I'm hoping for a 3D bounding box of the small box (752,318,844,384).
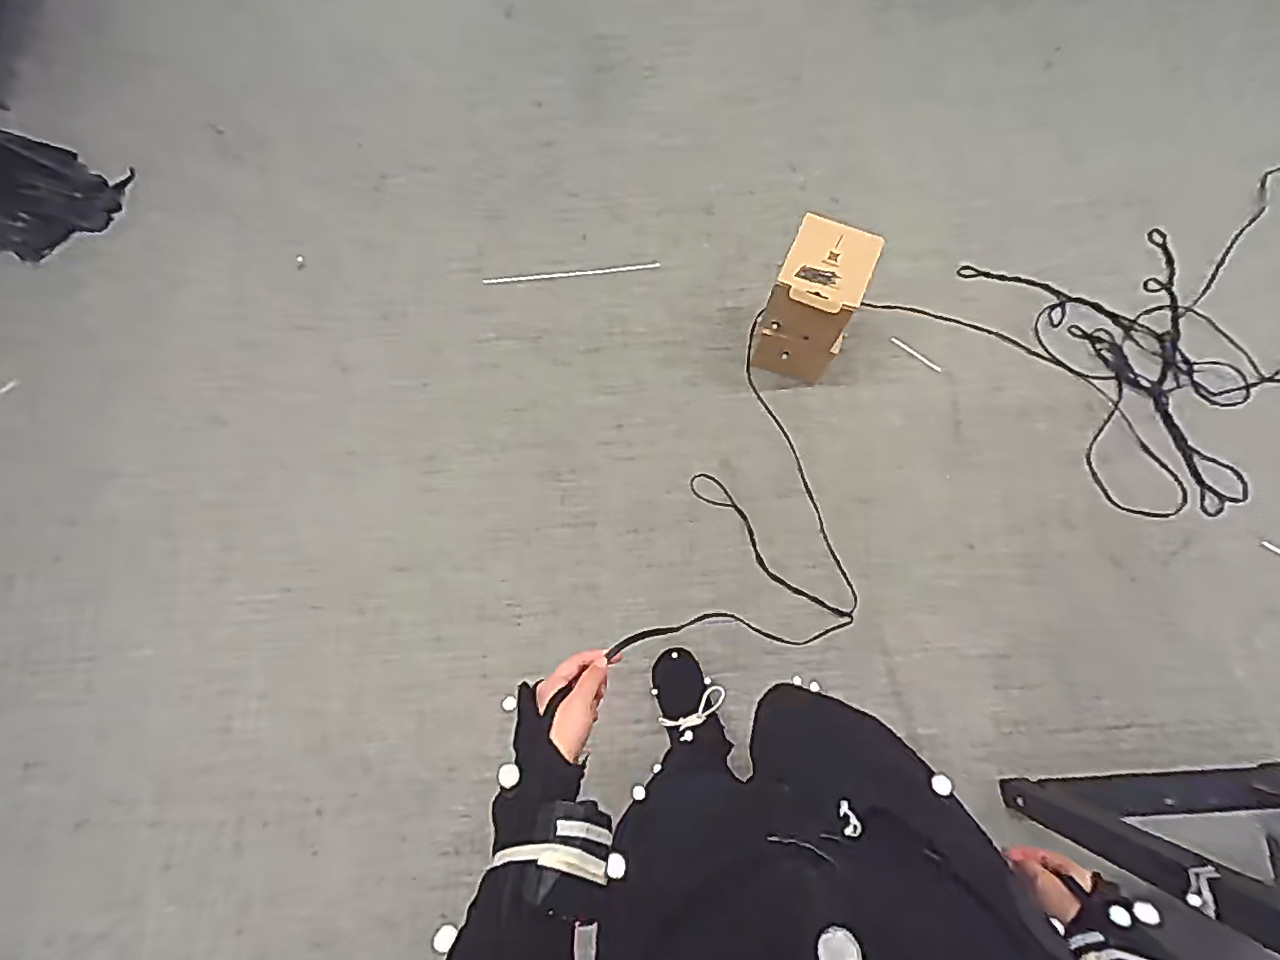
[{"bbox_3d":[0.380,-0.351,1.291,0.179,0.176,0.168,18,77,7],"label":"small box"}]

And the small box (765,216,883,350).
[{"bbox_3d":[0.374,-0.404,1.134,0.168,0.176,0.179,23,77,7],"label":"small box"}]
